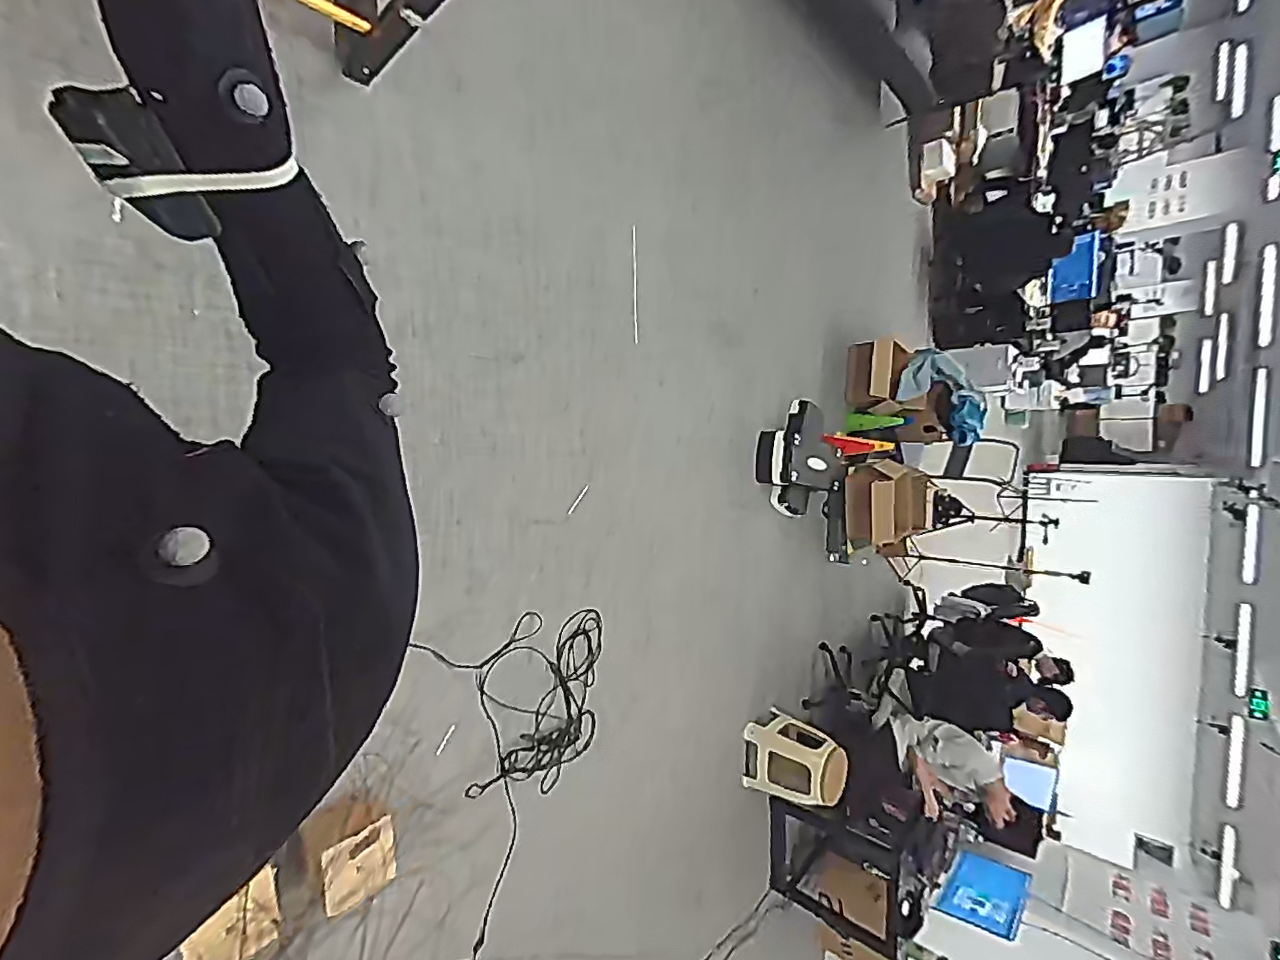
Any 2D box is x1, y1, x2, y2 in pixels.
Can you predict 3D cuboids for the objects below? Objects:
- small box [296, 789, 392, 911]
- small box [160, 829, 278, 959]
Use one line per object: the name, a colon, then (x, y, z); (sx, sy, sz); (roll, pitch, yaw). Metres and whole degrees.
small box: (-0.758, 0.928, 1.382); (0.168, 0.176, 0.179); (-9, 100, -48)
small box: (-0.928, 0.924, 1.192); (0.168, 0.176, 0.179); (-13, 101, -48)
